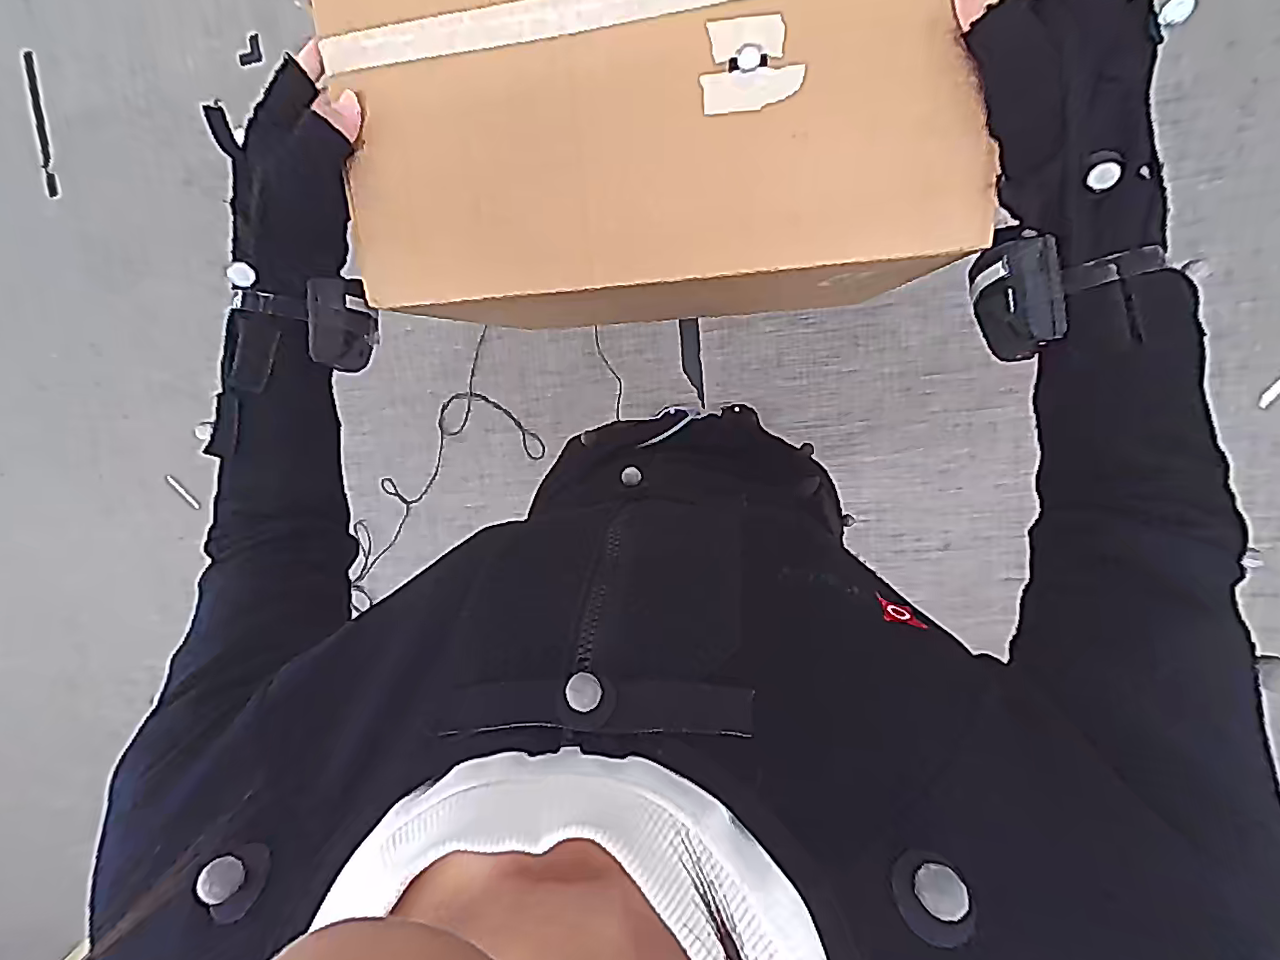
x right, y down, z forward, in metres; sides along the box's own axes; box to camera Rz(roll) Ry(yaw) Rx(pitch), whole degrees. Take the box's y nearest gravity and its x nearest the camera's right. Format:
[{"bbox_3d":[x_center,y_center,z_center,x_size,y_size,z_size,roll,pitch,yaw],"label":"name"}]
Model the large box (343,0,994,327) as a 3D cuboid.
[{"bbox_3d":[0.022,-0.320,0.474,0.408,0.320,0.320,-3,103,9],"label":"large box"}]
